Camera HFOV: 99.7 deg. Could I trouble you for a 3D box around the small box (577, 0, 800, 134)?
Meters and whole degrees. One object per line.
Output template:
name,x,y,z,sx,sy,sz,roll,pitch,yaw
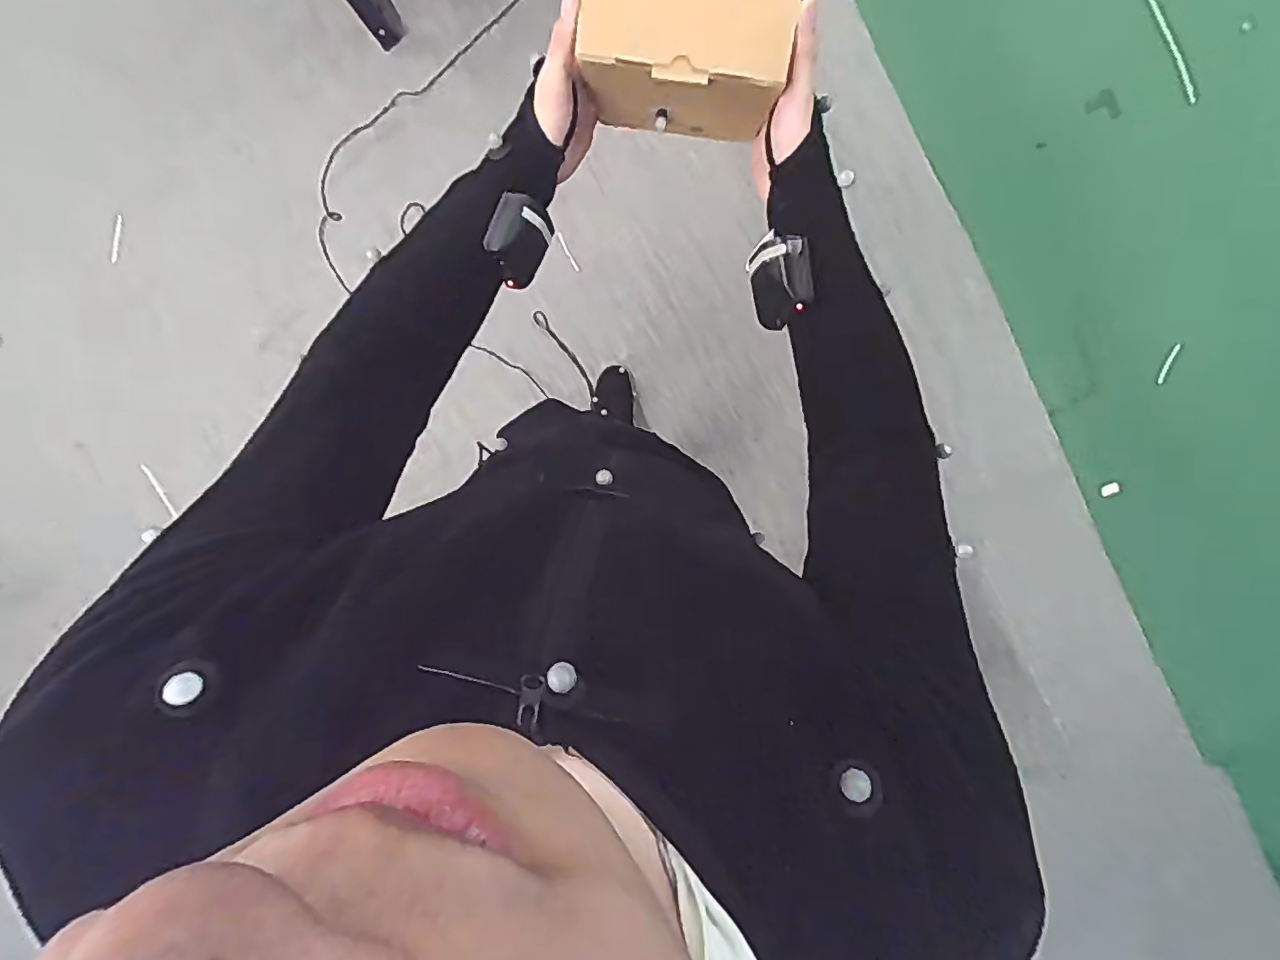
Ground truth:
small box,0.043,-0.424,0.459,0.168,0.176,0.179,6,111,-1
